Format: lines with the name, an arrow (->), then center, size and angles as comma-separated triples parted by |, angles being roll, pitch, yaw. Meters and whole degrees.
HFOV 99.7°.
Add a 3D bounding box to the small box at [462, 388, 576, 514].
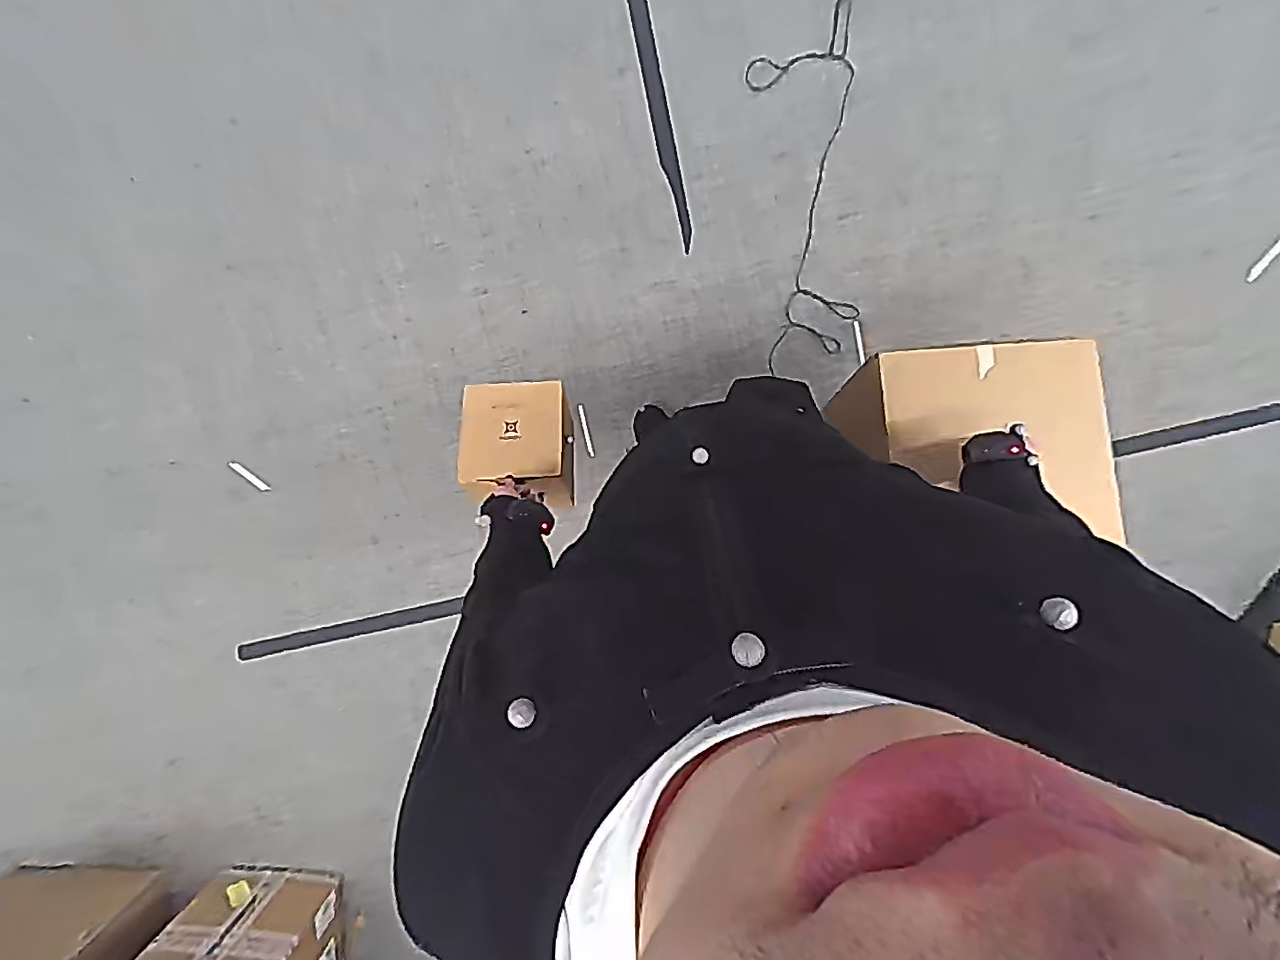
small box -> -0.205, -0.043, 0.962 | 0.168, 0.176, 0.179 | -3, 67, -2
